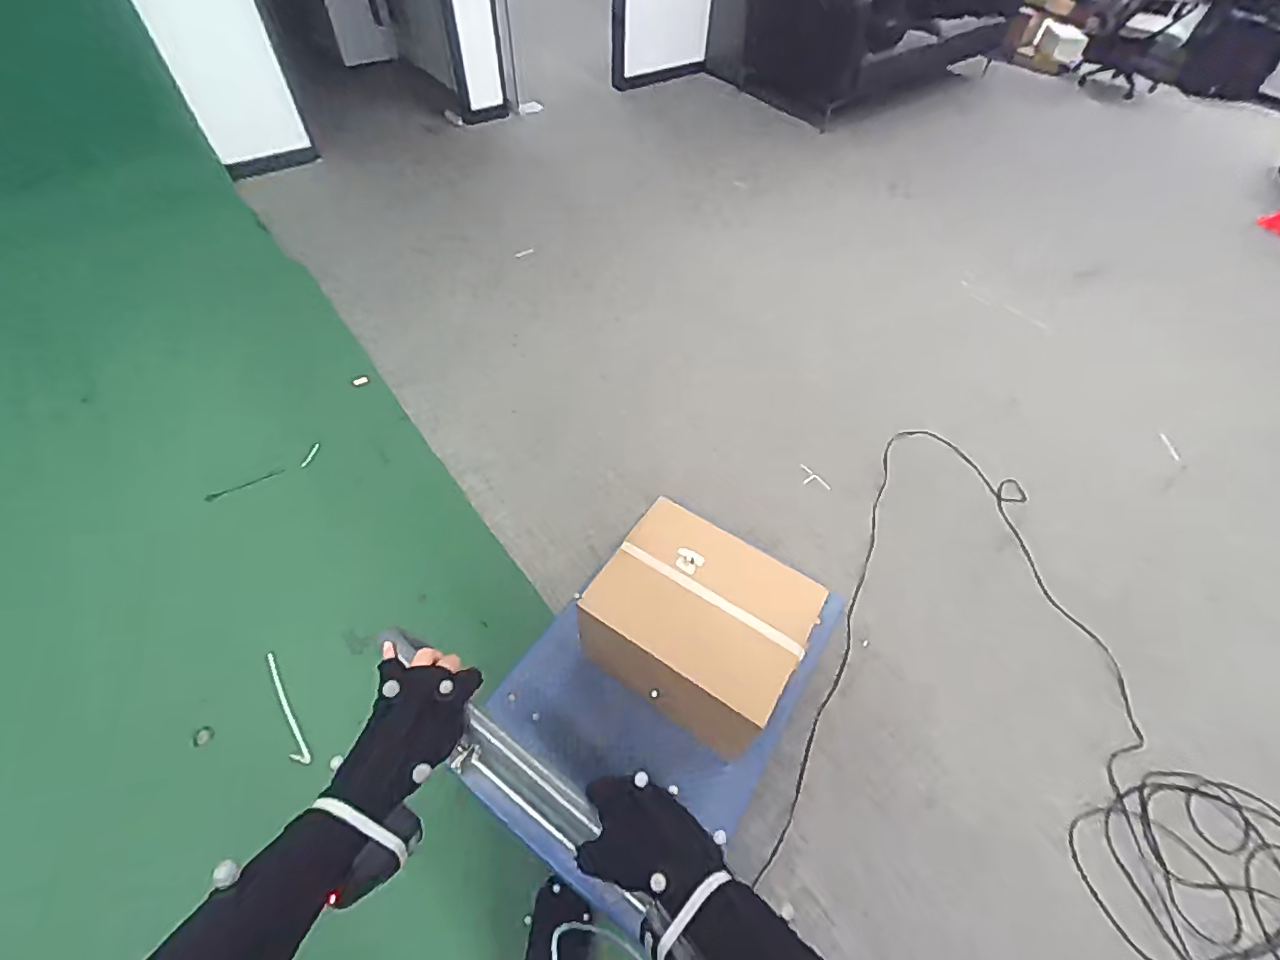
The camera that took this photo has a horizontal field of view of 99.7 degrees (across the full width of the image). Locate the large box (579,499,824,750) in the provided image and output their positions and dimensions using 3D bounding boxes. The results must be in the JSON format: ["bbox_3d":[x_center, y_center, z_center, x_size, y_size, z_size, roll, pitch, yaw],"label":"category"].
[{"bbox_3d":[0.124,0.317,1.188,0.408,0.320,0.320,29,57,18],"label":"large box"}]
